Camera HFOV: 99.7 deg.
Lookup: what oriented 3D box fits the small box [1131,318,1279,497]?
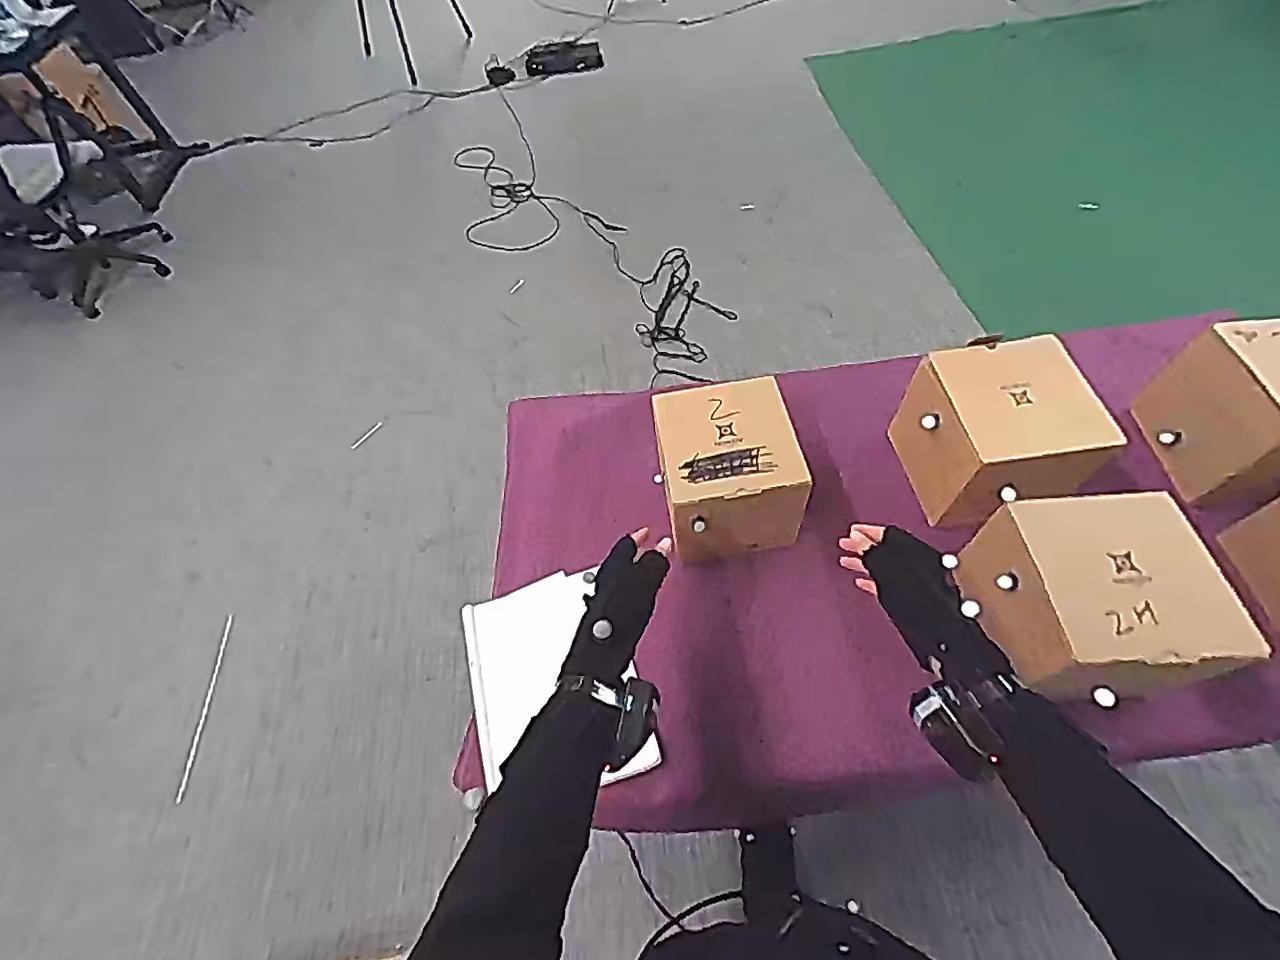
[{"bbox_3d":[0.804,-0.086,0.696,0.168,0.176,0.179,-2,58,6],"label":"small box"}]

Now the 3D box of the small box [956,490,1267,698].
[{"bbox_3d":[0.483,0.131,0.596,0.168,0.176,0.179,-4,57,5],"label":"small box"}]

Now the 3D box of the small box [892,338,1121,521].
[{"bbox_3d":[0.466,-0.058,0.724,0.168,0.176,0.179,-9,56,2],"label":"small box"}]
